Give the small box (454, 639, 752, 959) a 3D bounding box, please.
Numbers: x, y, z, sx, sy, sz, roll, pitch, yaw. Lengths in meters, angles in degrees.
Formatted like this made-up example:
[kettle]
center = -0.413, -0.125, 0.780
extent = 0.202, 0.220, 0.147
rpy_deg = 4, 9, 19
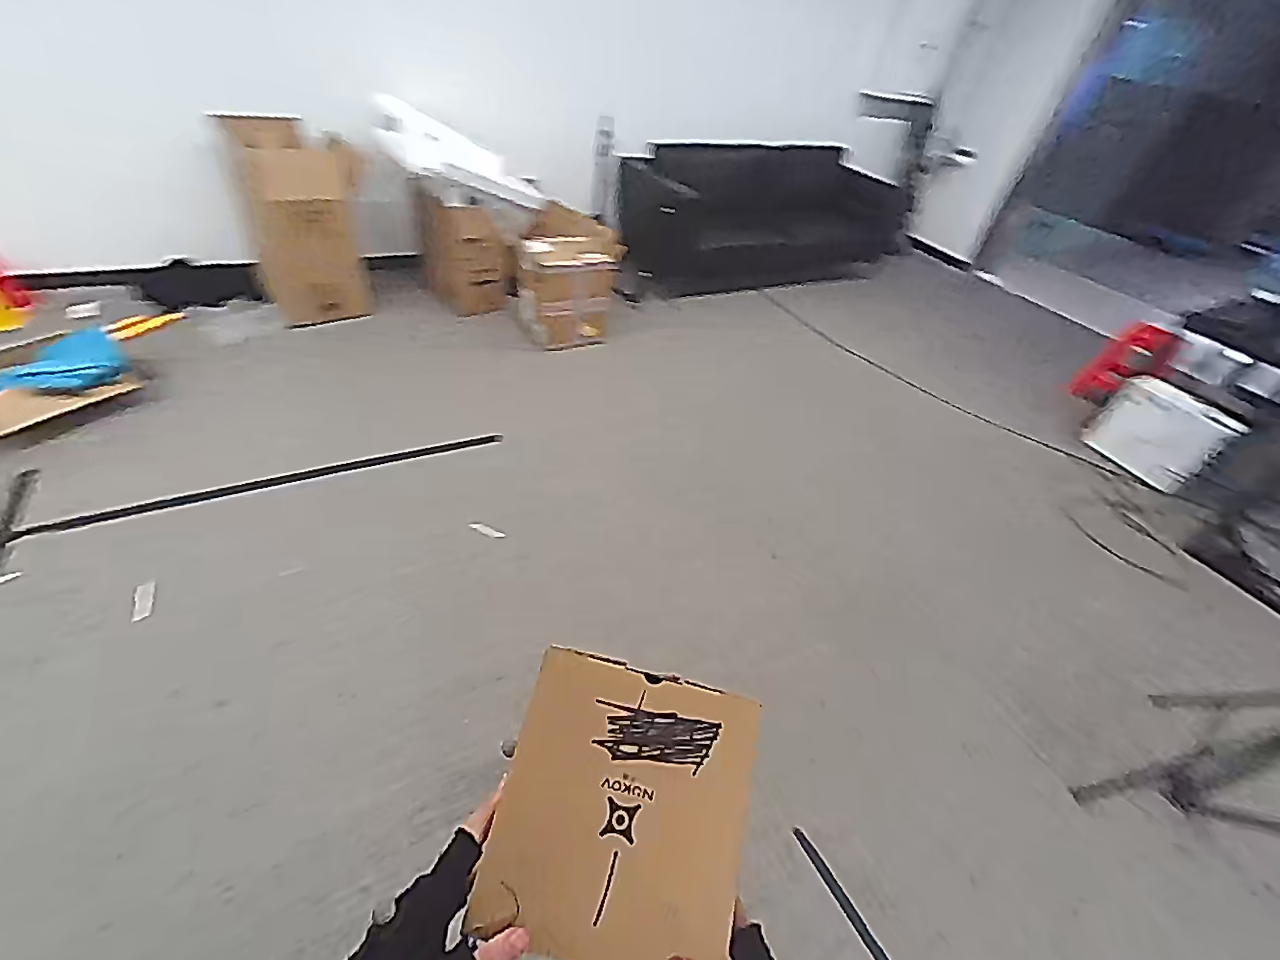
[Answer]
[small box]
center = -0.025, 0.244, 0.427
extent = 0.168, 0.176, 0.179
rpy_deg = 14, 64, -1
